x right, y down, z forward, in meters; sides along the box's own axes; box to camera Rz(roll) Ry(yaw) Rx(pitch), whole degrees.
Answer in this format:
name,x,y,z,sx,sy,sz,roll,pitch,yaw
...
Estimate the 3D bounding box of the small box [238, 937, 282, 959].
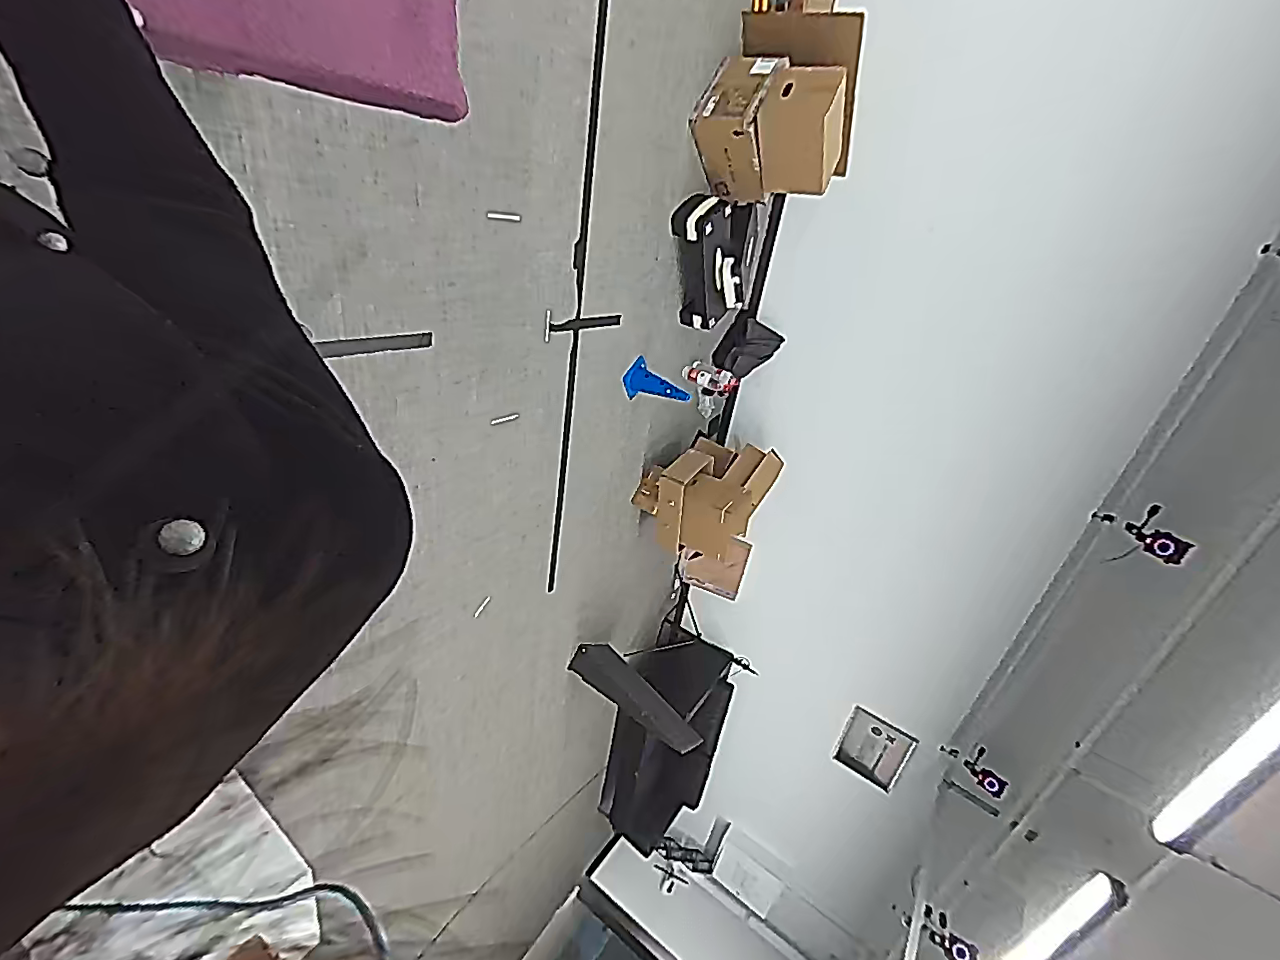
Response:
name,x,y,z,sx,sy,sz,roll,pitch,yaw
small box,-1.025,1.373,1.424,0.179,0.176,0.168,-32,138,-46
